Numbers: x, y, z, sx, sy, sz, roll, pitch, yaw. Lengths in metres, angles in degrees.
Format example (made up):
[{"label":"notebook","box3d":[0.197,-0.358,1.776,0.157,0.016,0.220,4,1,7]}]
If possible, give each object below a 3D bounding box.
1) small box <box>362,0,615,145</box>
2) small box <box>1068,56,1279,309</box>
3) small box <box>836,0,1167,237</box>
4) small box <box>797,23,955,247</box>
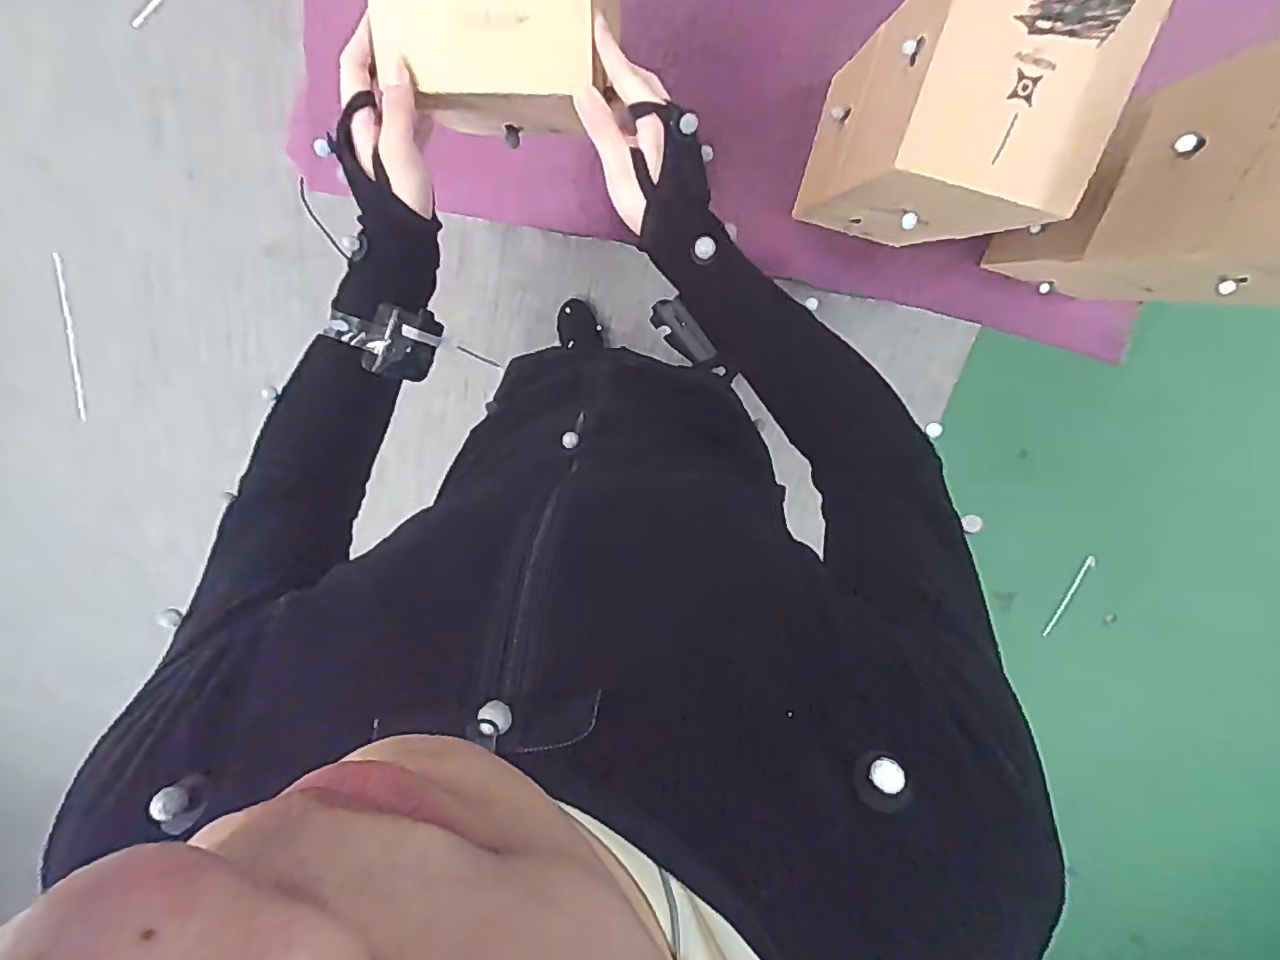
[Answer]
[{"label":"small box","box3d":[-0.113,-0.400,0.450,0.168,0.176,0.179,4,113,3]},{"label":"small box","box3d":[0.582,-0.278,0.529,0.168,0.176,0.179,16,108,-4]},{"label":"small box","box3d":[0.309,-0.347,0.510,0.168,0.176,0.179,14,109,-4]},{"label":"small box","box3d":[0.309,-0.400,0.665,0.168,0.176,0.179,13,108,-4]}]
